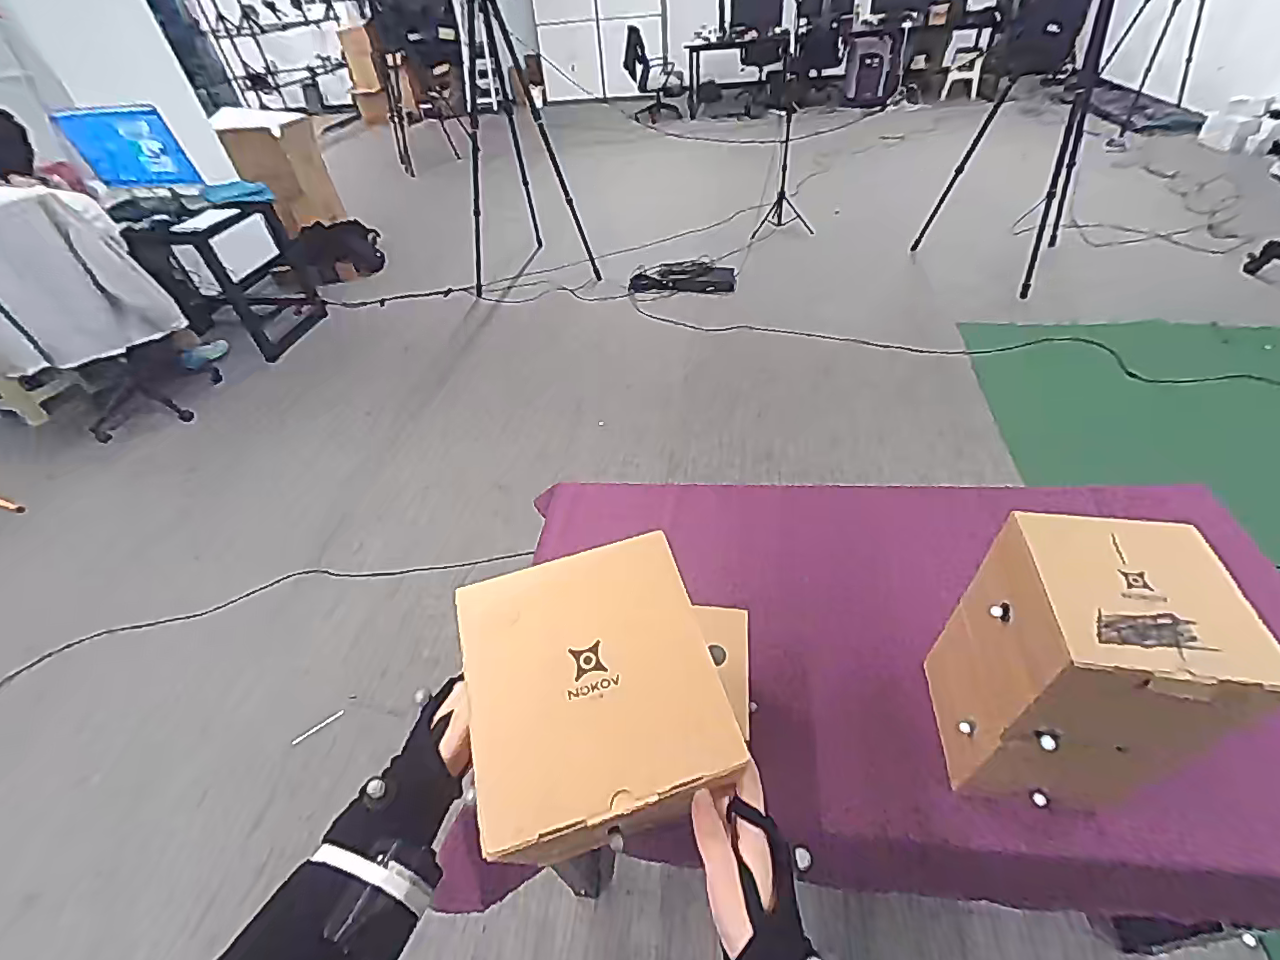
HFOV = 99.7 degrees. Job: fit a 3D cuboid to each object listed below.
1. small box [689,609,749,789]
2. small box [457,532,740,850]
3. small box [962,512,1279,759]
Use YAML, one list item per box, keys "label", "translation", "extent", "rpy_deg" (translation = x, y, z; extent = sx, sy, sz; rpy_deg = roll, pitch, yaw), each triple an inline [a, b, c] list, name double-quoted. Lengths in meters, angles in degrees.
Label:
- label: "small box"
  translation: [0.048, 0.283, 0.705]
  extent: [0.179, 0.176, 0.168]
  rpy_deg: [2, 43, 9]
- label: "small box"
  translation: [-0.036, 0.173, 0.436]
  extent: [0.168, 0.176, 0.179]
  rpy_deg: [-15, 56, -8]
- label: "small box"
  translation: [0.454, 0.156, 0.545]
  extent: [0.168, 0.176, 0.179]
  rpy_deg: [4, 44, 11]
